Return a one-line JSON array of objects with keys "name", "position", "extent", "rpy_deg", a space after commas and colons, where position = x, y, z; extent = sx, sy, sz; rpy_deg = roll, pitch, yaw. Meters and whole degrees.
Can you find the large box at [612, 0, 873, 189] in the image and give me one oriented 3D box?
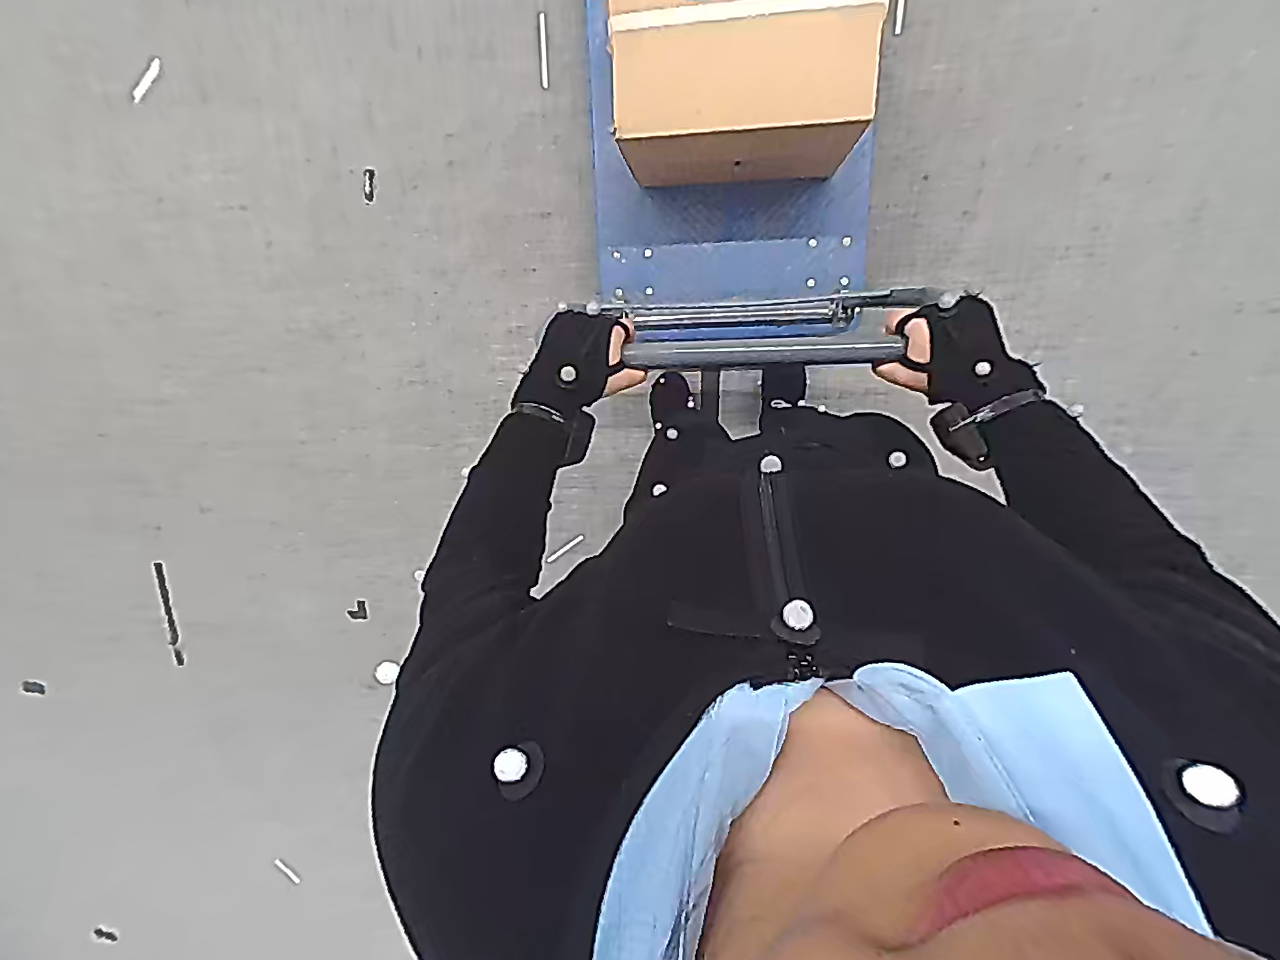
[{"name": "large box", "position": [0.177, -0.744, 0.977], "extent": [0.408, 0.320, 0.320], "rpy_deg": [0, 104, 9]}]
